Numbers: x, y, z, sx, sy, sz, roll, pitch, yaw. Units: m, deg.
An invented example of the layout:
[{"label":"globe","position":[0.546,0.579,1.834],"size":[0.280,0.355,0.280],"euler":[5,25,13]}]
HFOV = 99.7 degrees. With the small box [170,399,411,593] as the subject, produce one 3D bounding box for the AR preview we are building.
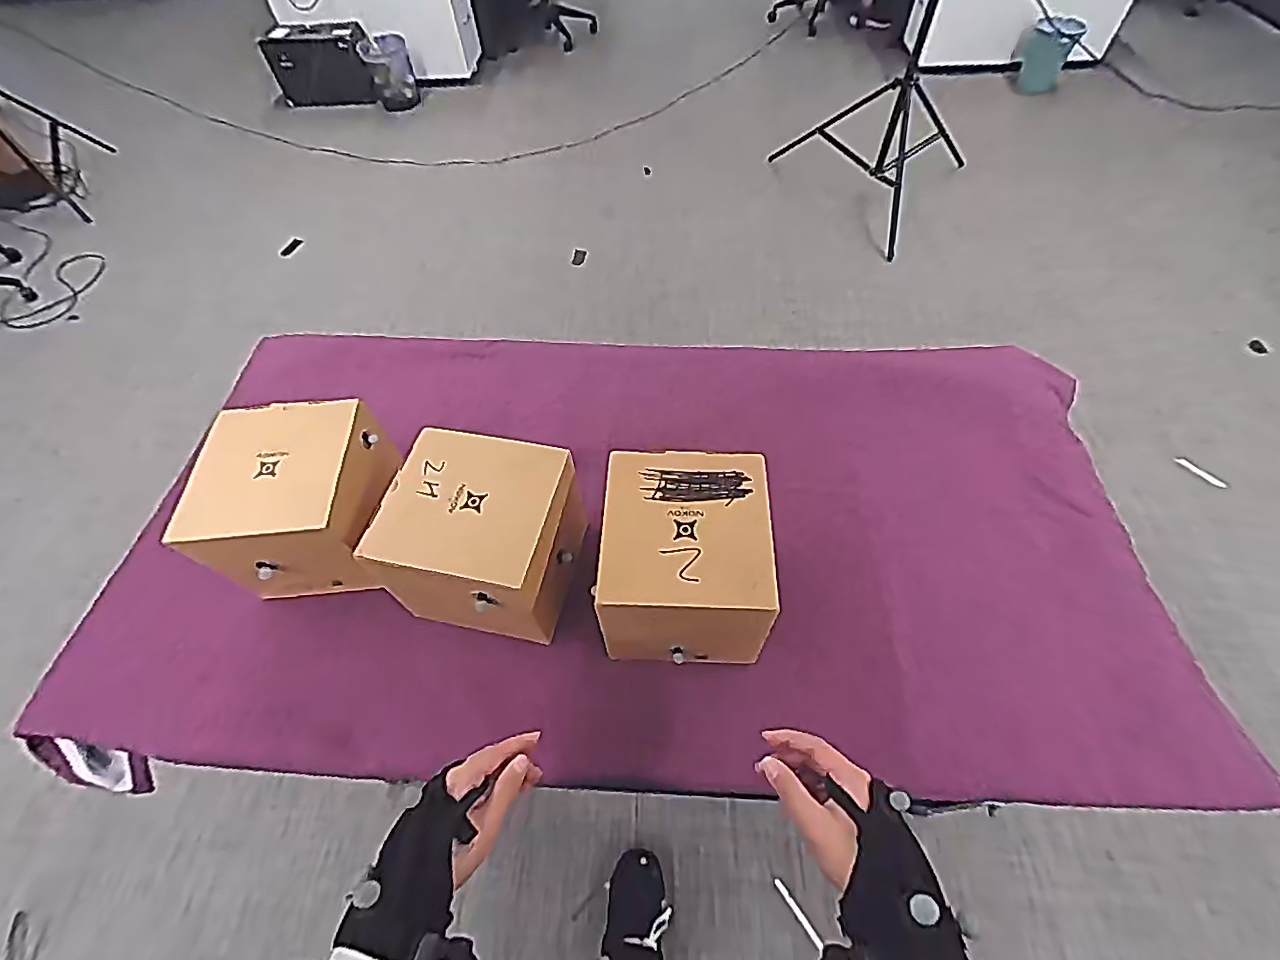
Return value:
[{"label":"small box","position":[-0.399,0.028,0.658],"size":[0.168,0.176,0.179],"euler":[-6,56,-1]}]
